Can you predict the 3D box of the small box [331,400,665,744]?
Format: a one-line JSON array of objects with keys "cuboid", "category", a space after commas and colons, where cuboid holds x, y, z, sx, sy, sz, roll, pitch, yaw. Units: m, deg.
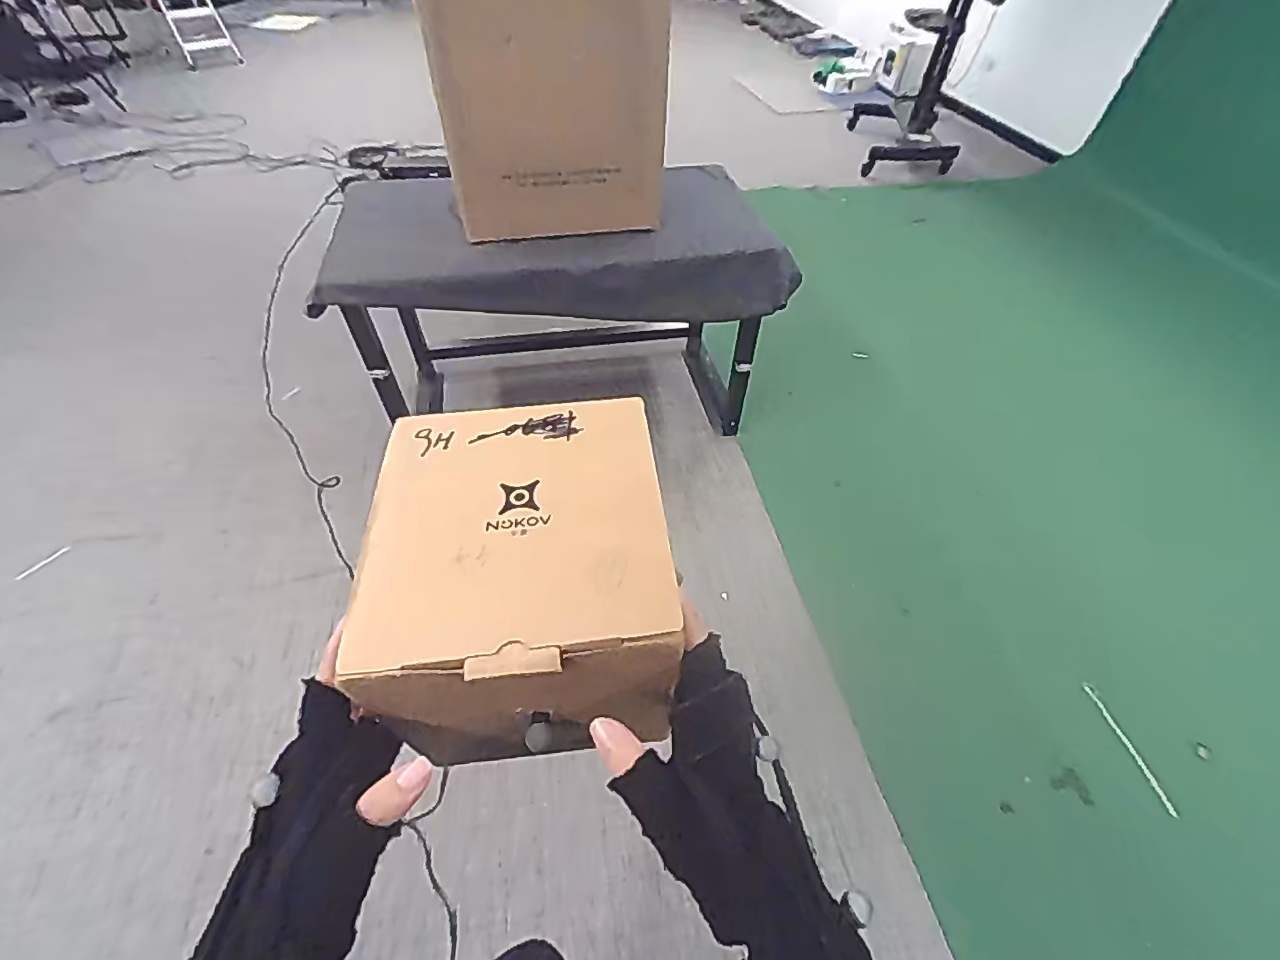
[{"cuboid": [-0.073, 0.069, 0.372, 0.168, 0.176, 0.179, -4, 51, -4], "category": "small box"}]
